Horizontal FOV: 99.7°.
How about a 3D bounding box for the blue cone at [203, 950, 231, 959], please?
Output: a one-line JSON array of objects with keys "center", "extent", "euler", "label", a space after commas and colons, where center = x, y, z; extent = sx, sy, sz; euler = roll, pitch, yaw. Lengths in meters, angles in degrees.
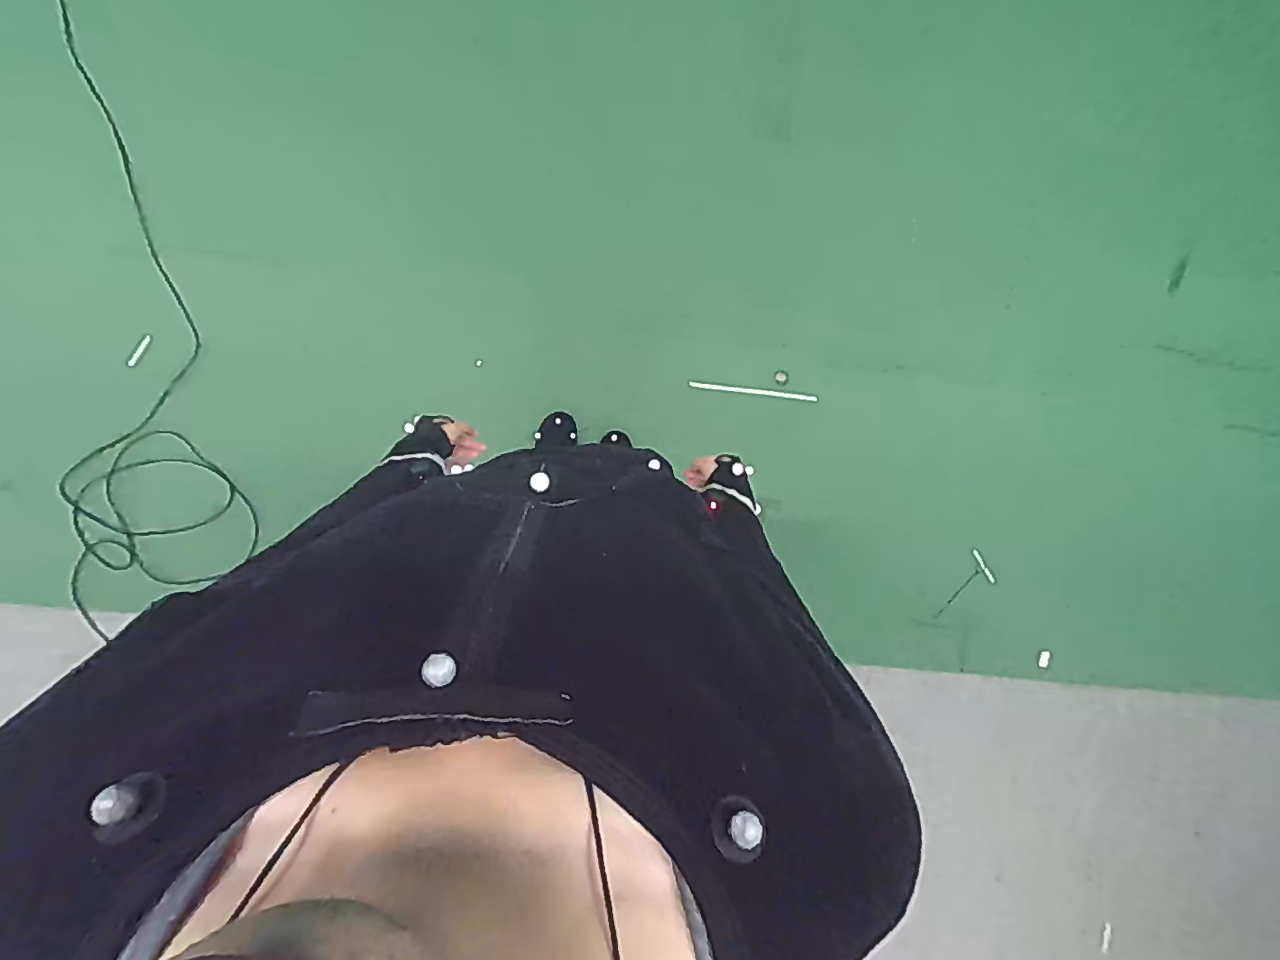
[{"center": [-1.175, 1.448, 1.352], "extent": [0.193, 0.380, 0.192], "euler": [-39, 100, 1], "label": "blue cone"}]
